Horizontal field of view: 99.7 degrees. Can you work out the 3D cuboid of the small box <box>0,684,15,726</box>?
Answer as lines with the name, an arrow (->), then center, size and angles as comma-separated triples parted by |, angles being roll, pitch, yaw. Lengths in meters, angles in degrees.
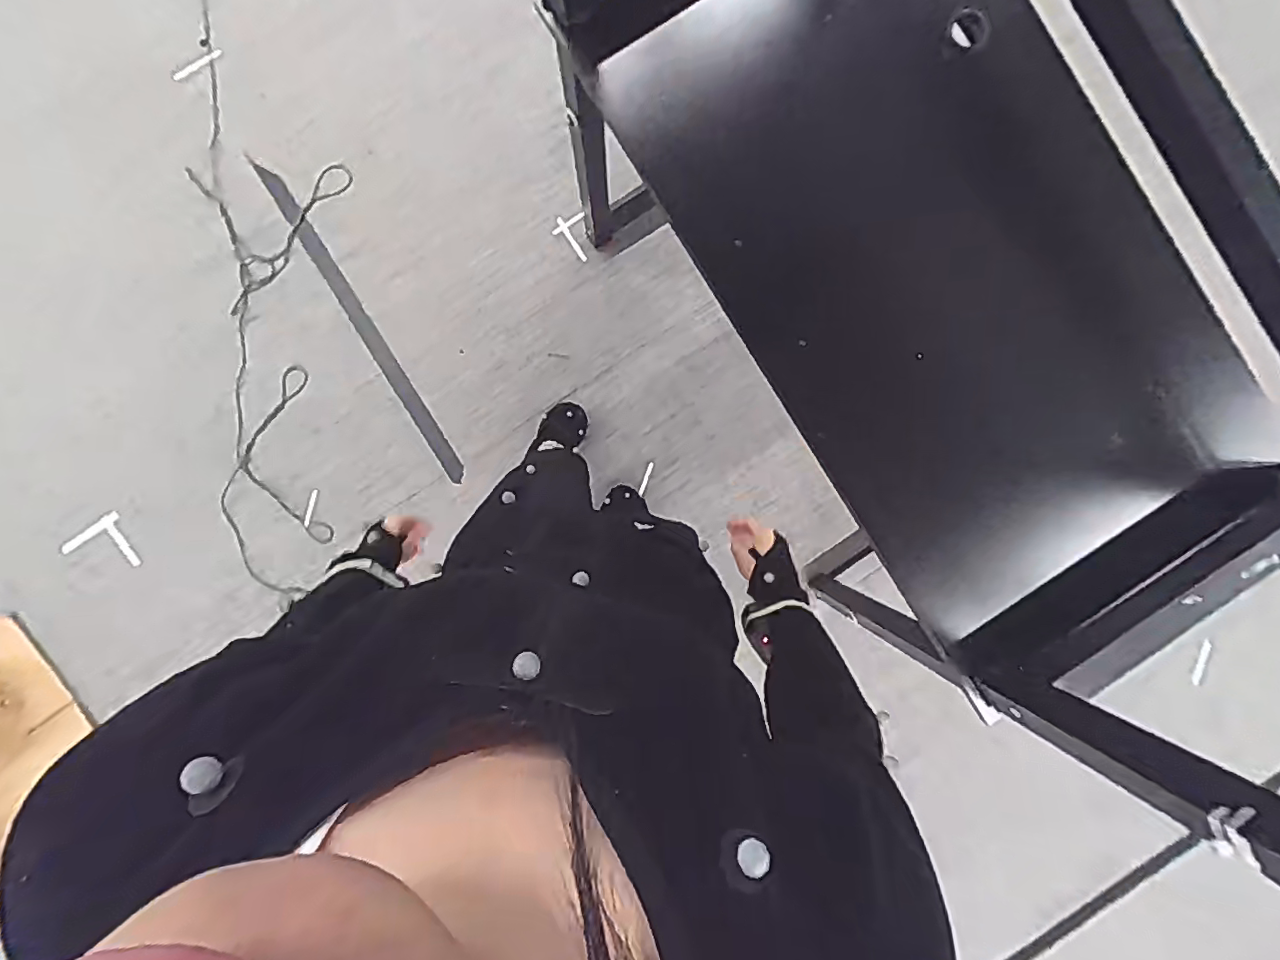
small box -> -1.744, 0.592, 1.346 | 0.179, 0.176, 0.168 | -38, 92, -1
